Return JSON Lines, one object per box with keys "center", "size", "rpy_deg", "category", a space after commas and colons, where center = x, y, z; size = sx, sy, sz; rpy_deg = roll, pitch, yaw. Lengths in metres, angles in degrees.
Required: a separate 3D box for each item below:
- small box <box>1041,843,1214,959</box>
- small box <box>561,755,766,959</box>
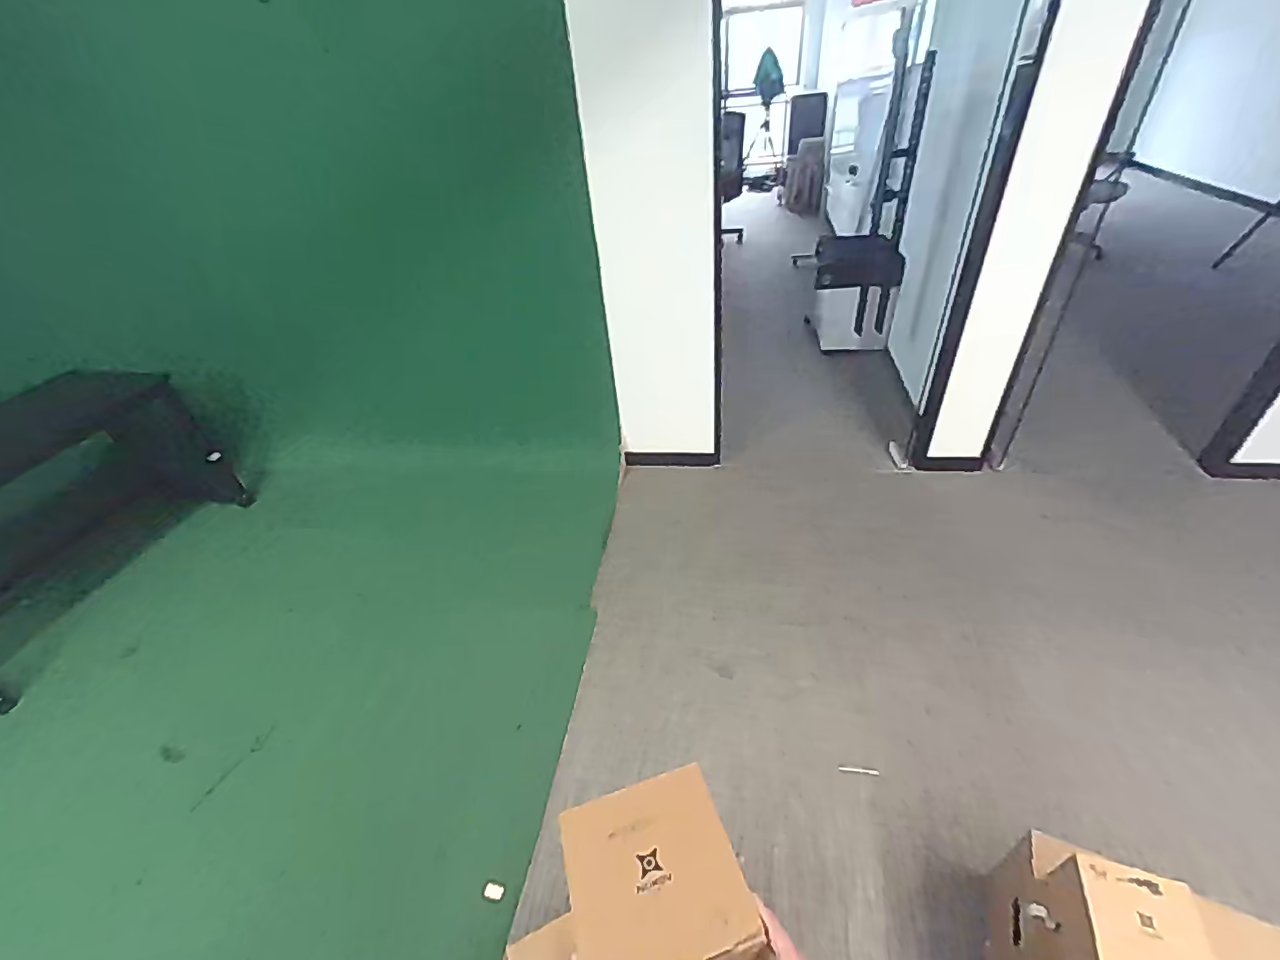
{"center": [0.832, 0.777, 0.935], "size": [0.168, 0.176, 0.179], "rpy_deg": [9, 43, 18], "category": "small box"}
{"center": [0.025, 0.440, 0.568], "size": [0.168, 0.176, 0.179], "rpy_deg": [-16, 28, -8], "category": "small box"}
